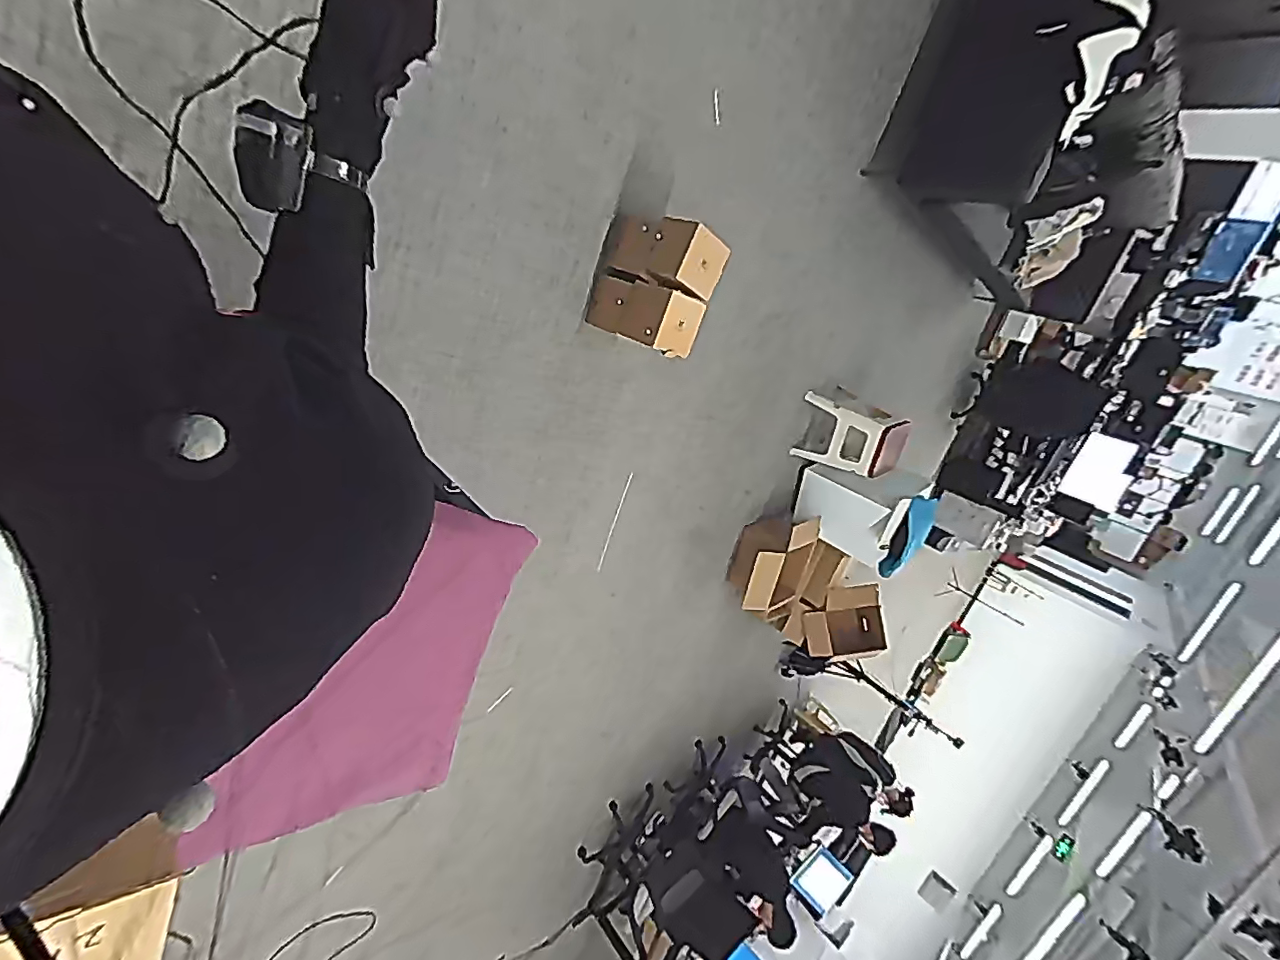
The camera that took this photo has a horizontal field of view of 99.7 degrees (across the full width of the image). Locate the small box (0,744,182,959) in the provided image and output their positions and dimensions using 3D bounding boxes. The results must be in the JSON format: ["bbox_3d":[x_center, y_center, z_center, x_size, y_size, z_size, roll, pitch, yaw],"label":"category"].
[{"bbox_3d":[-0.538,0.381,0.484,0.168,0.176,0.179,6,110,-48],"label":"small box"}]
